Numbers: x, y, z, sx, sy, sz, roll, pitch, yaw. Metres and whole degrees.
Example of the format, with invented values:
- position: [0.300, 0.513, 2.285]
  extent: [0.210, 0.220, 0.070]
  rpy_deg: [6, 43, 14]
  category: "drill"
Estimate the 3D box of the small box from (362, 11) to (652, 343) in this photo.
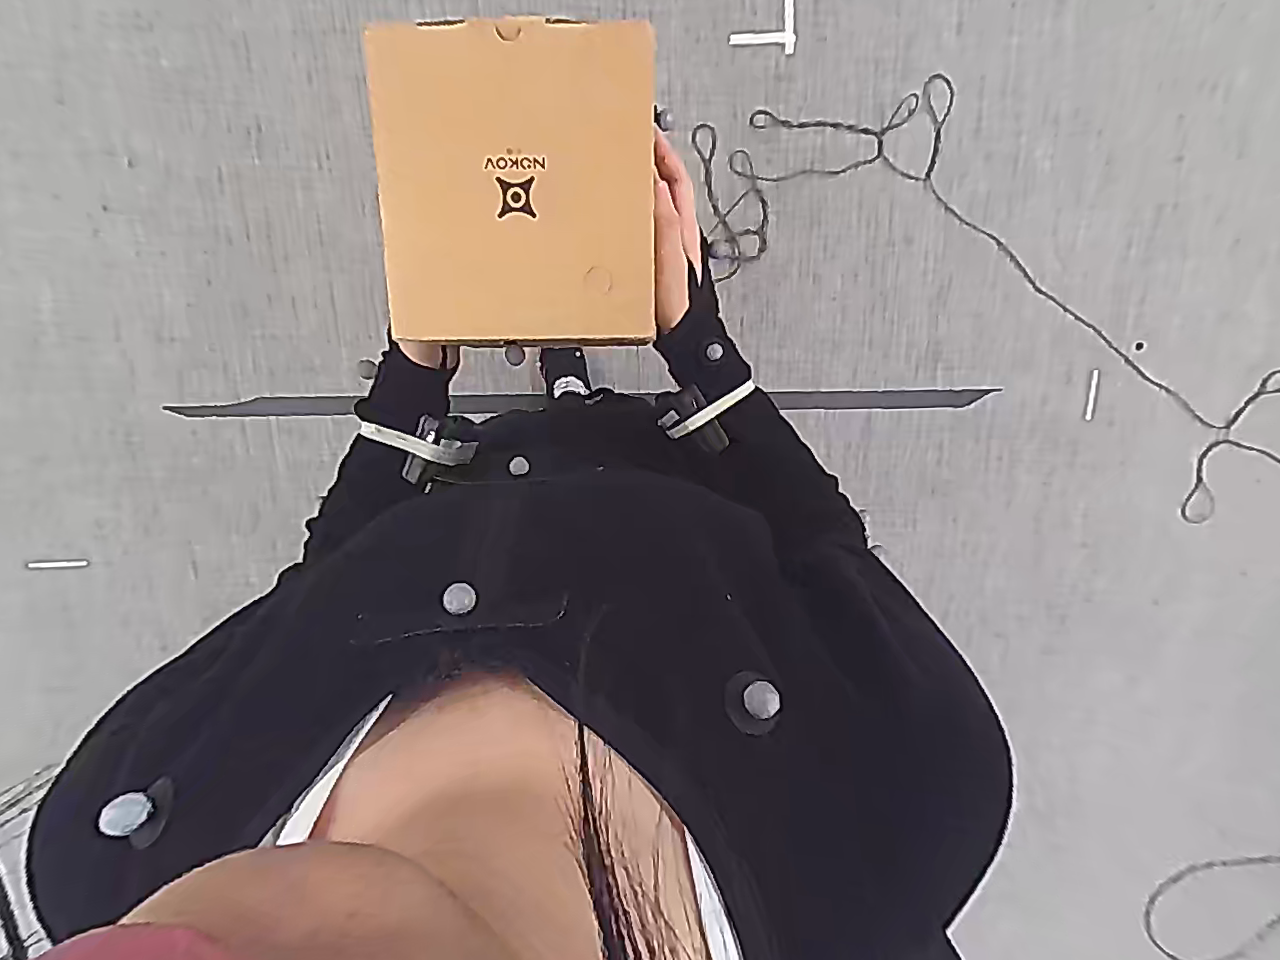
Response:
- position: [-0.074, -0.193, 0.399]
  extent: [0.168, 0.176, 0.179]
  rpy_deg: [-1, 101, 0]
  category: "small box"
